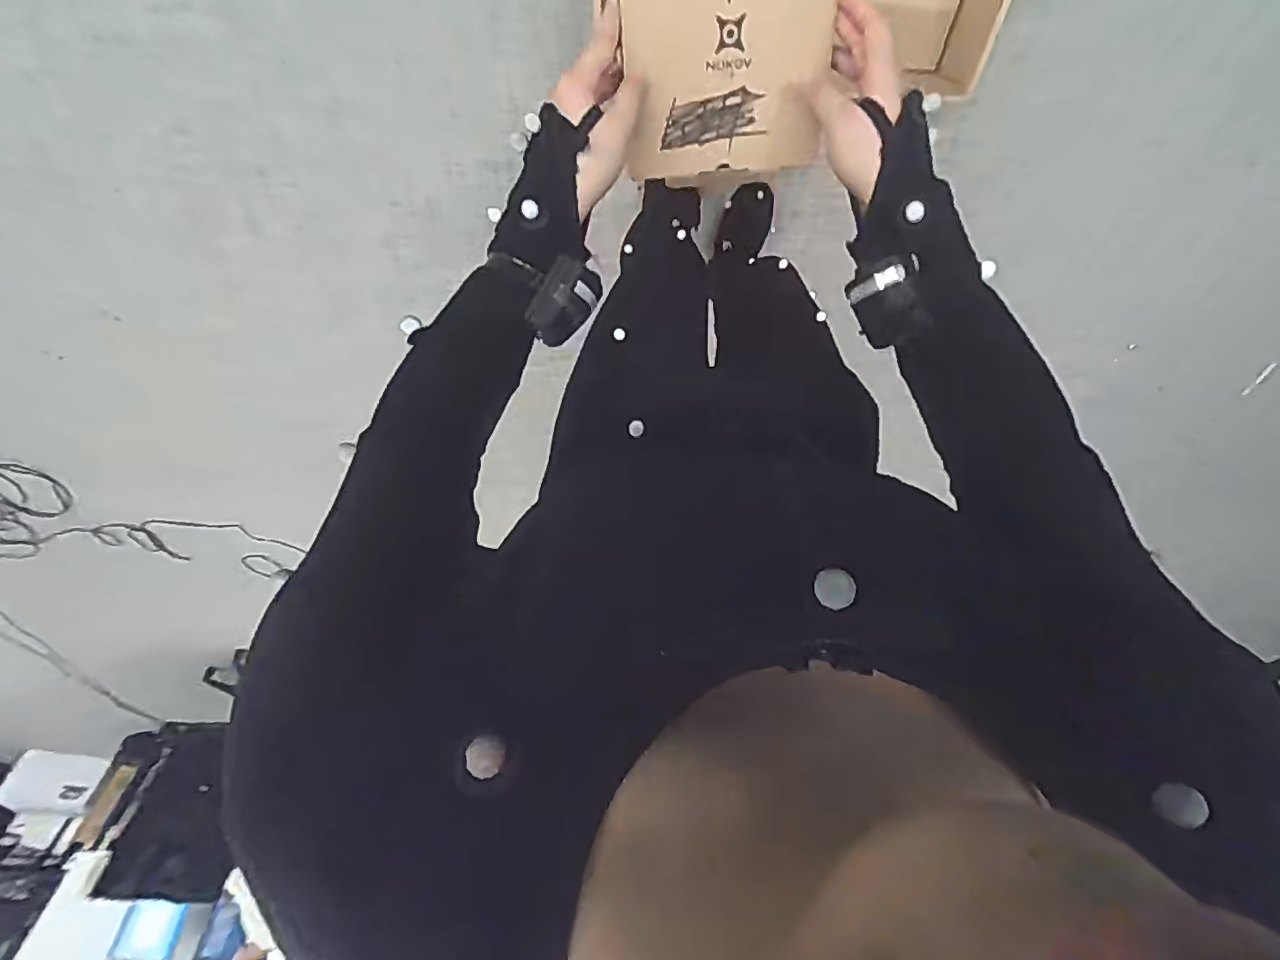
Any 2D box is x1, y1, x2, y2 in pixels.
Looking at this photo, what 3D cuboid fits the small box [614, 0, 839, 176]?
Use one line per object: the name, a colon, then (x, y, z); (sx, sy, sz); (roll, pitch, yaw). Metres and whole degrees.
small box: (0.064, -0.391, 0.474); (0.168, 0.176, 0.179); (-5, 134, -1)
